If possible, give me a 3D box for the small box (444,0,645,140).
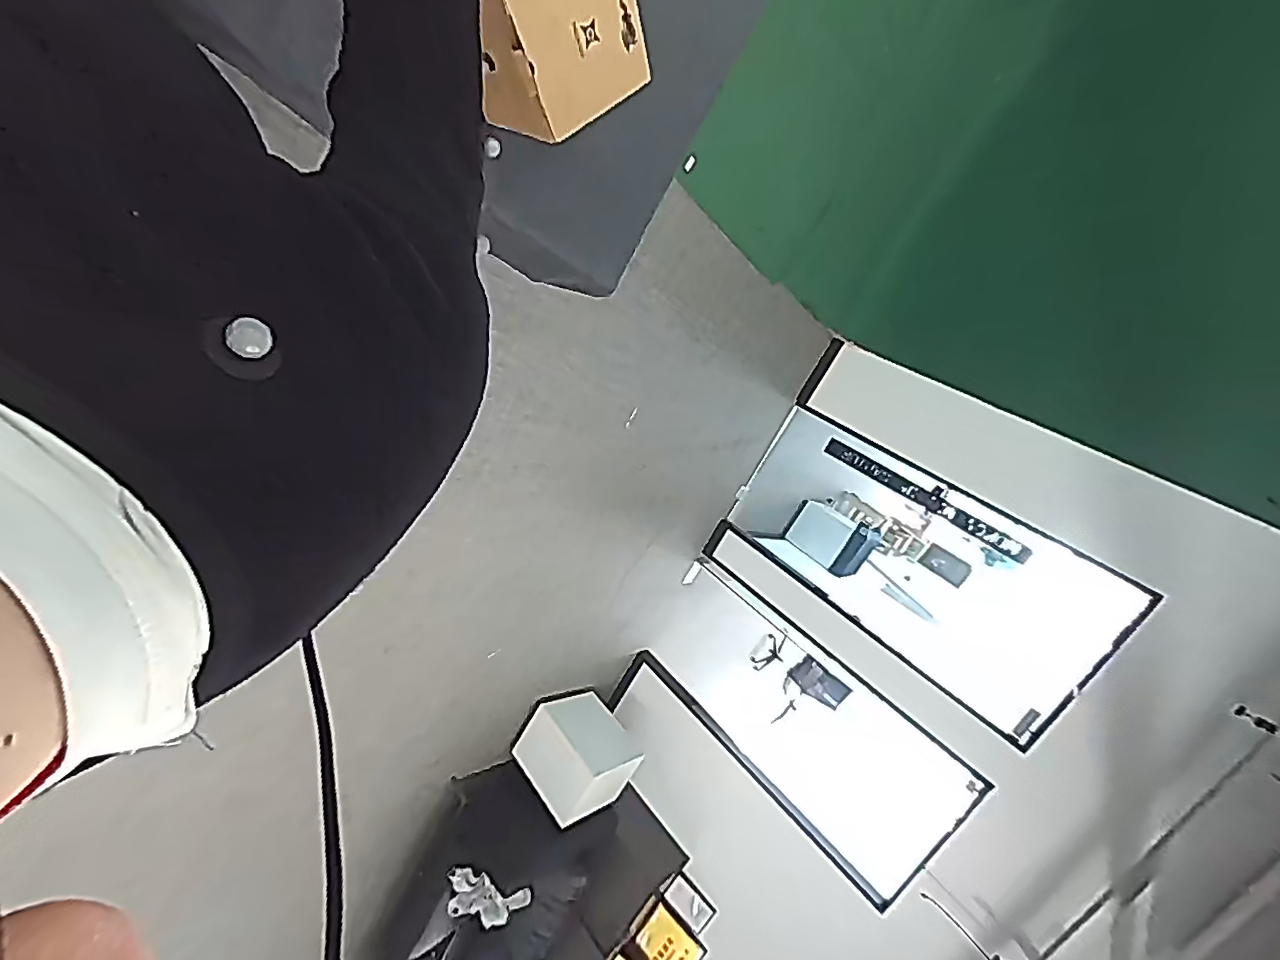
[{"bbox_3d":[-0.125,-0.571,0.691,0.179,0.176,0.168,-41,145,-14],"label":"small box"}]
